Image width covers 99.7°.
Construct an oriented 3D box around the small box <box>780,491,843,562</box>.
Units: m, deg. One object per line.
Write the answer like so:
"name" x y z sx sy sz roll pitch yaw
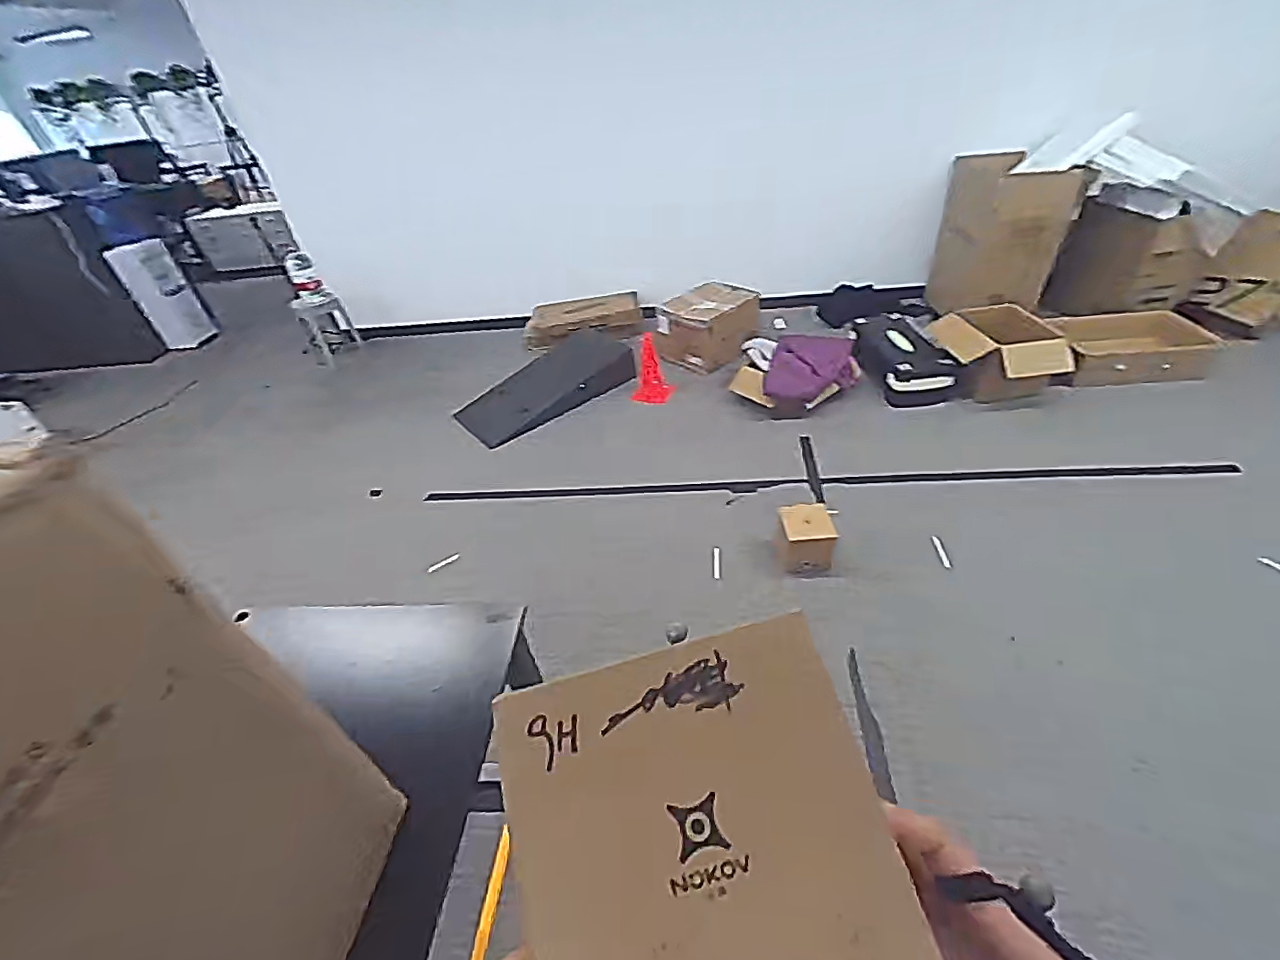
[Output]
"small box" 0.590 0.161 1.881 0.168 0.176 0.179 -7 40 3
